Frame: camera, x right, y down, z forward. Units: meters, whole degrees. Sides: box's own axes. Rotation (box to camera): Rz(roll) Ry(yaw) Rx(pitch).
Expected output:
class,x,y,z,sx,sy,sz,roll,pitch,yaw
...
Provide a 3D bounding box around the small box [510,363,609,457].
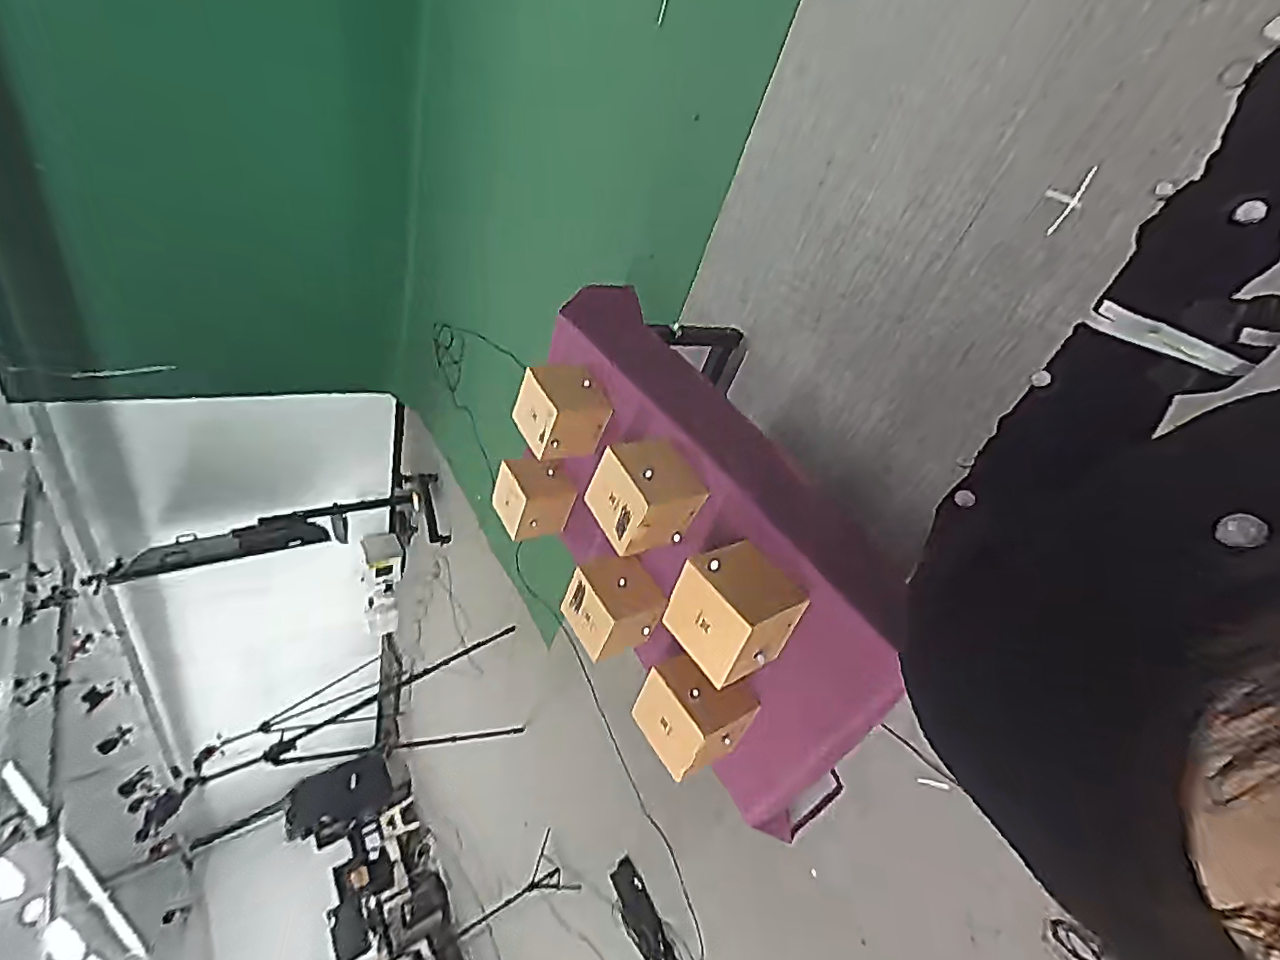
class,x,y,z,sx,sy,sz,roll,pitch,yaw
small box,-0.207,-0.181,1.392,0.179,0.176,0.168,55,136,28

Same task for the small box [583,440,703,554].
class,x,y,z,sx,sy,sz,roll,pitch,yaw
small box,0.007,0.029,1.175,0.179,0.176,0.168,55,135,29

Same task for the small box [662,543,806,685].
class,x,y,z,sx,sy,sz,roll,pitch,yaw
small box,0.176,0.240,1.016,0.179,0.176,0.168,45,130,37

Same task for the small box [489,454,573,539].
class,x,y,z,sx,sy,sz,roll,pitch,yaw
small box,-0.318,0.045,1.579,0.168,0.176,0.179,52,133,30
